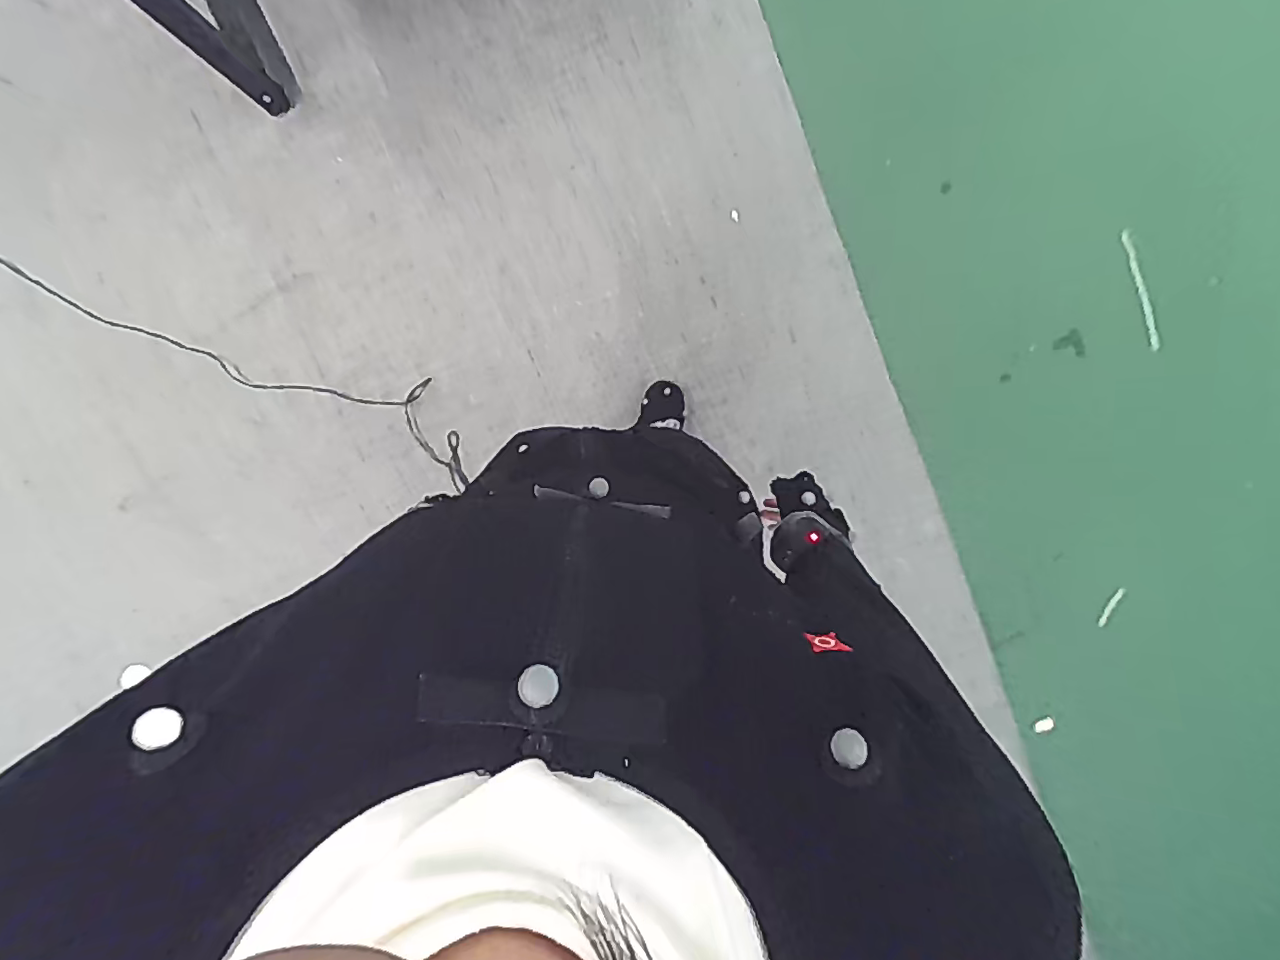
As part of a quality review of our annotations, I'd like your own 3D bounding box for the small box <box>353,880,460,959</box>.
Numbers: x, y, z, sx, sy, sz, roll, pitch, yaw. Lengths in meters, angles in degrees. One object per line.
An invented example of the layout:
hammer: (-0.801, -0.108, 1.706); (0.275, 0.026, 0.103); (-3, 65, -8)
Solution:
small box: (-0.497, 1.011, 1.153); (0.168, 0.176, 0.179); (9, 95, -2)
